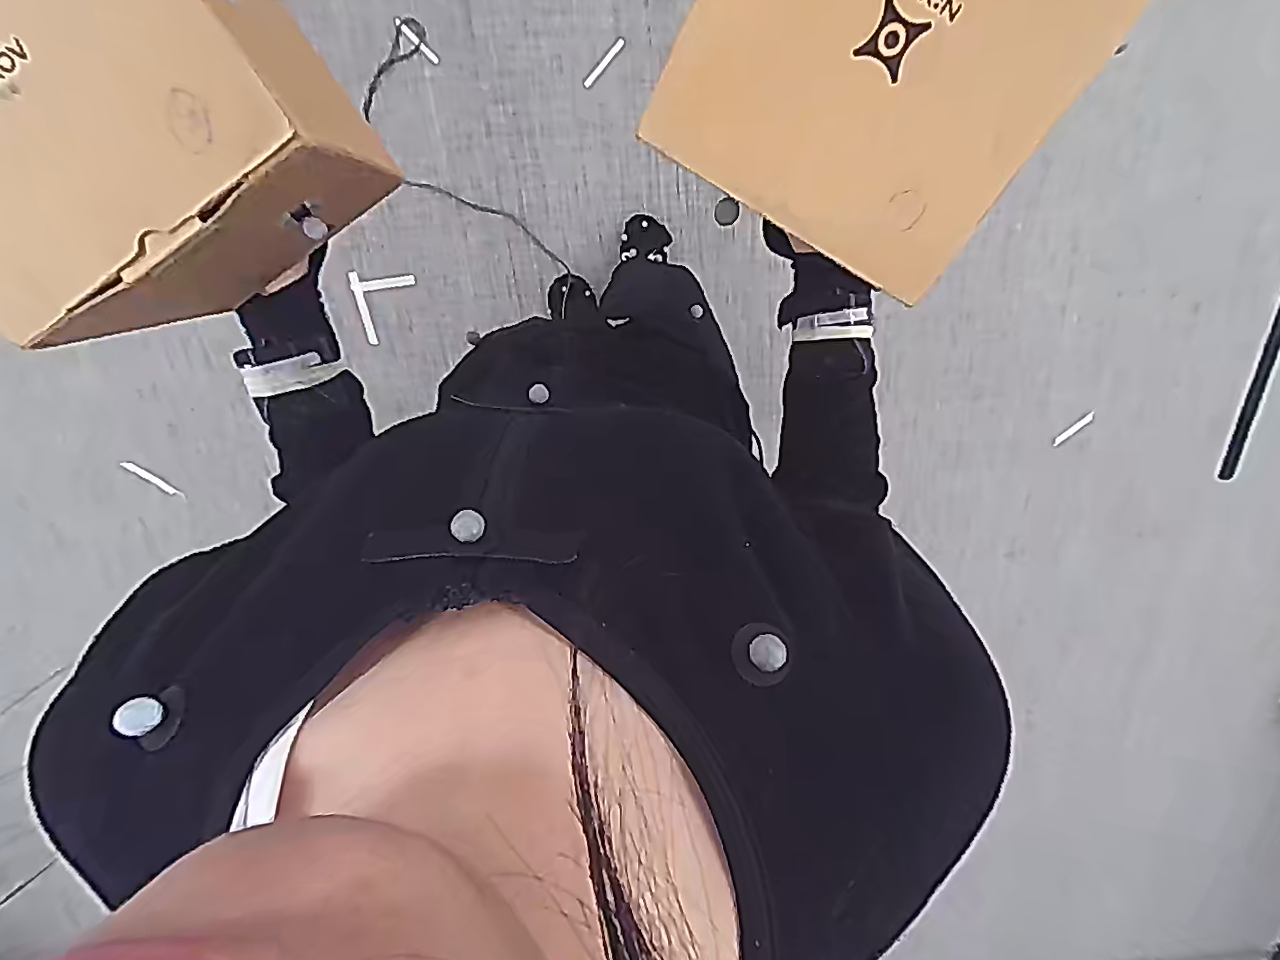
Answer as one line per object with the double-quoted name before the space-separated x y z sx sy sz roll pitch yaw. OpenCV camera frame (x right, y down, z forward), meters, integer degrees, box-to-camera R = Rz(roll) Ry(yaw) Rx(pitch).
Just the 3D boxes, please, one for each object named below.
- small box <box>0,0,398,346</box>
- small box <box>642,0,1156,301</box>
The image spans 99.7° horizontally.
"small box" -0.259 -0.197 0.273 0.168 0.176 0.179 -33 113 6
"small box" 0.120 -0.230 0.298 0.168 0.176 0.179 27 117 -9
